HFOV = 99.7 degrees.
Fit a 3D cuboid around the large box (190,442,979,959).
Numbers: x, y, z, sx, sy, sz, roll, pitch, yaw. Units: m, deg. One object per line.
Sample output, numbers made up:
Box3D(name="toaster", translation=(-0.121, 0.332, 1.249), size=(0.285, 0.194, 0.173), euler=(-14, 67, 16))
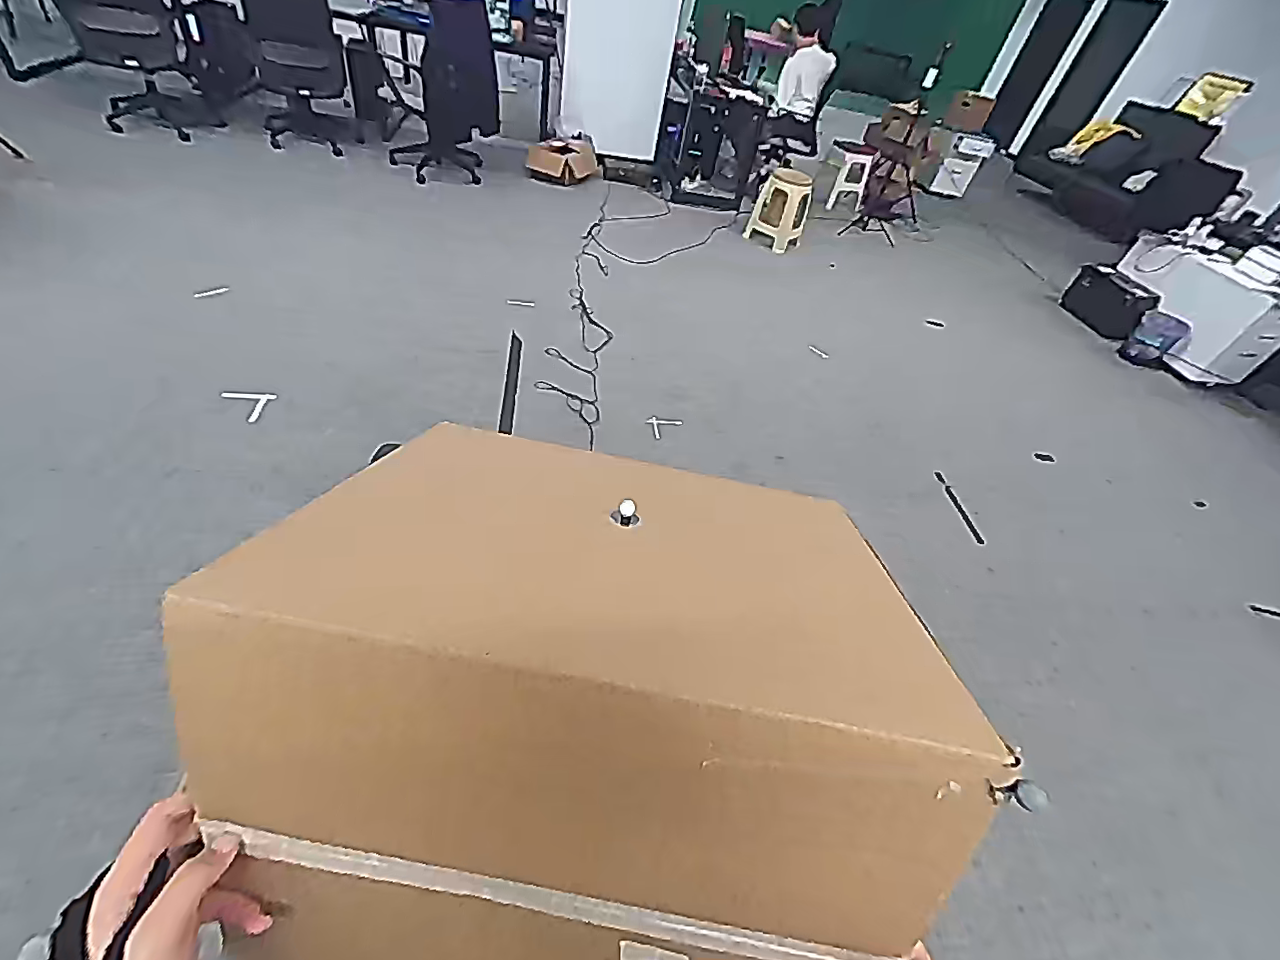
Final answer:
Box3D(name="large box", translation=(-0.043, 0.180, 0.456), size=(0.408, 0.320, 0.320), euler=(10, 22, 0))
